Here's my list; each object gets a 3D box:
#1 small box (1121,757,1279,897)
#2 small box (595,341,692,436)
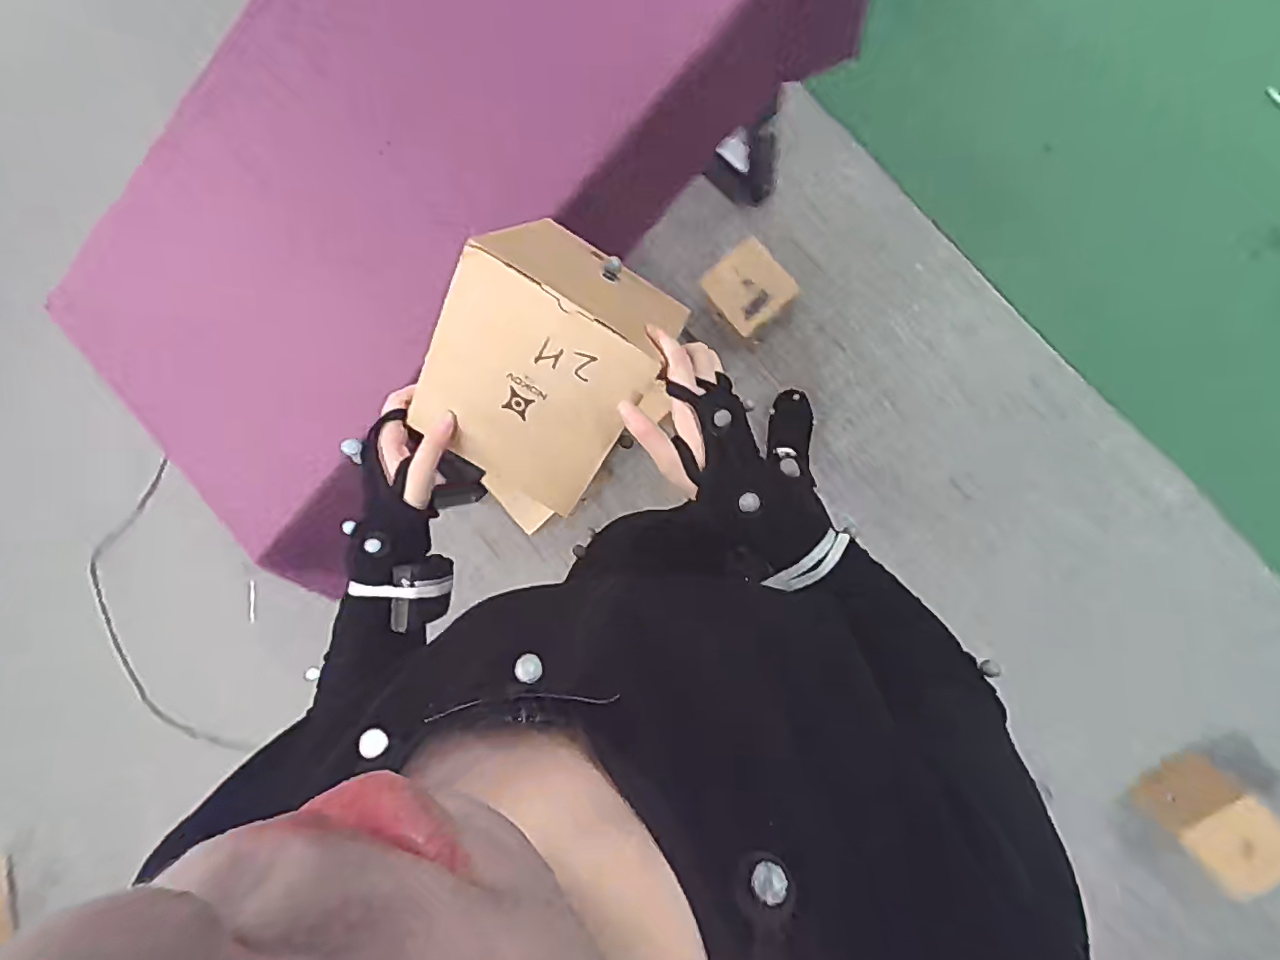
[{"bbox_3d":[1.245,0.752,1.200,0.168,0.176,0.179,-43,85,12],"label":"small box"},{"bbox_3d":[0.017,-0.227,1.400,0.179,0.176,0.168,-43,85,10],"label":"small box"}]
